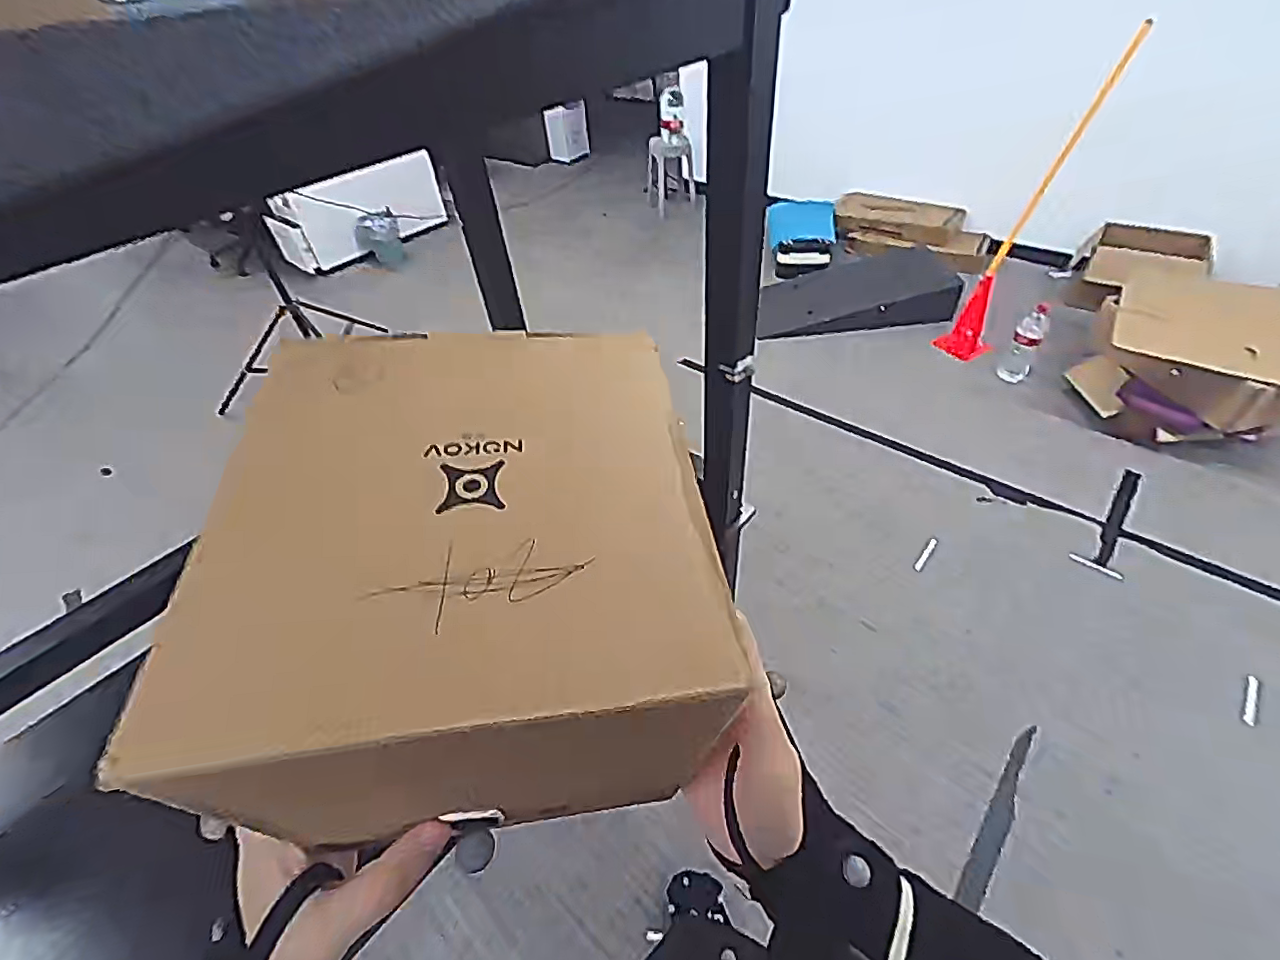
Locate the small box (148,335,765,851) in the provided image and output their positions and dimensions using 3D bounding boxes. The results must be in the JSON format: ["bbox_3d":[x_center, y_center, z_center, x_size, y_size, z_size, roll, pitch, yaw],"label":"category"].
[{"bbox_3d":[-0.063,0.052,0.259,0.168,0.176,0.179,-5,51,-10],"label":"small box"}]
